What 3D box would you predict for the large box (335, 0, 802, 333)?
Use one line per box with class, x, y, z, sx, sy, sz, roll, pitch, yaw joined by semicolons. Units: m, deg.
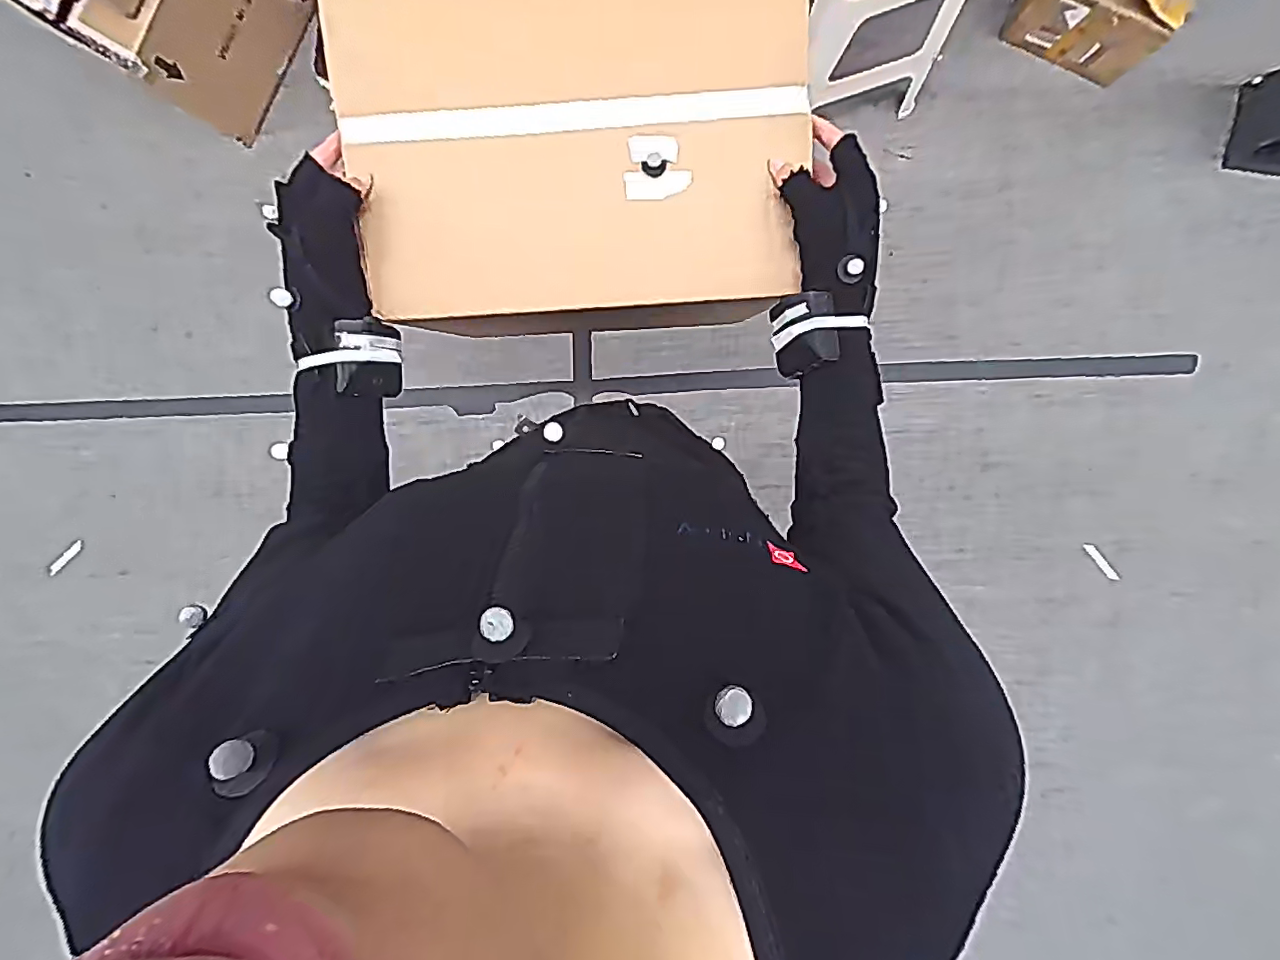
large box;-0.060;-0.352;0.625;0.408;0.320;0.320;-3;102;0
